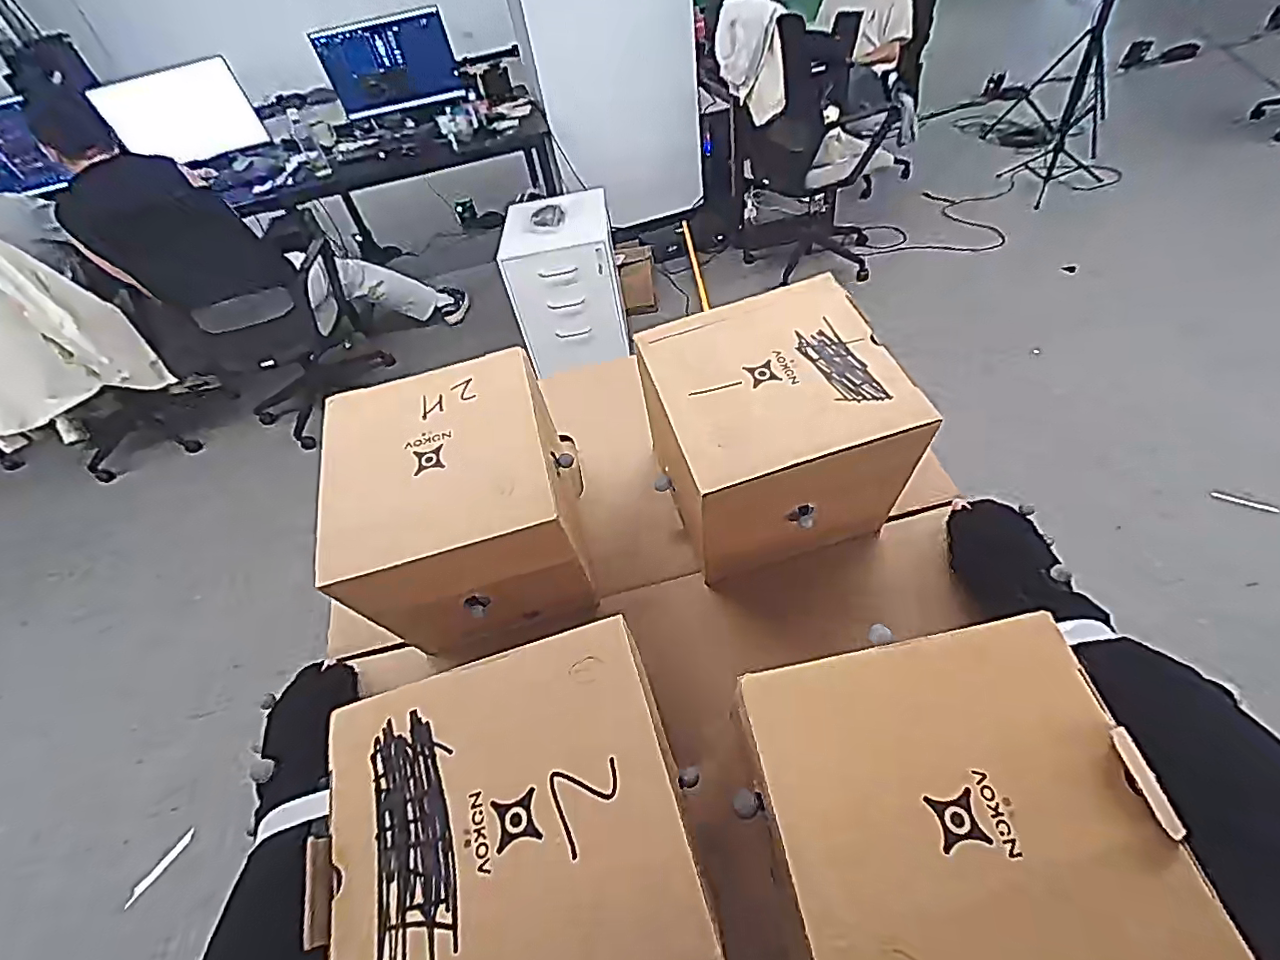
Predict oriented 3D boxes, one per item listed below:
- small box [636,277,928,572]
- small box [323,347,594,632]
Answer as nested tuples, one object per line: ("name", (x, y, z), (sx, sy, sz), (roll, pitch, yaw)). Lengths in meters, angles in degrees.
("small box", (0.107, -0.040, 0.478), (0.179, 0.176, 0.168), (-17, 58, -1))
("small box", (-0.146, 0.020, 0.477), (0.168, 0.176, 0.179), (-15, 57, -2))
